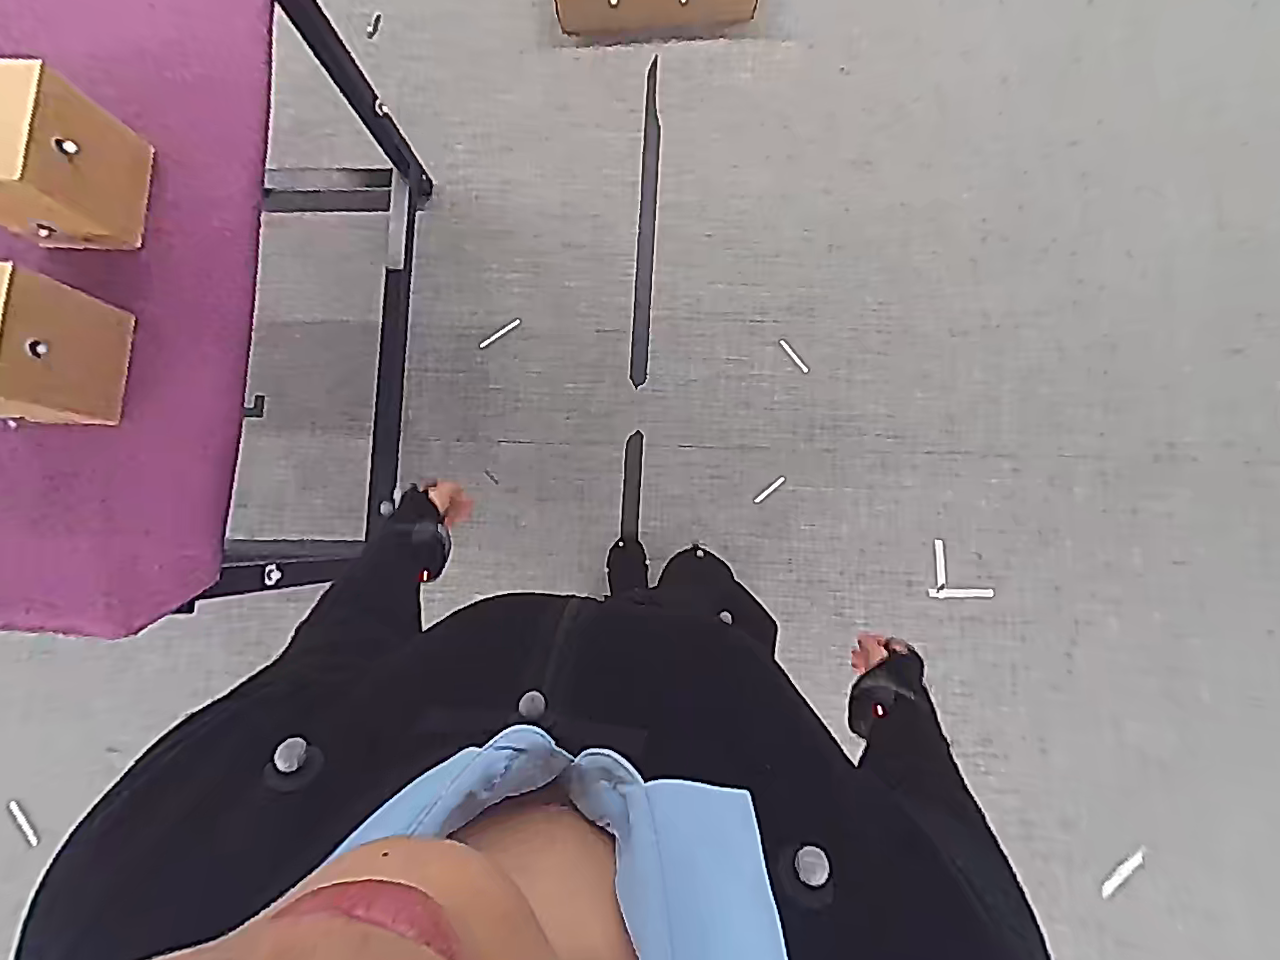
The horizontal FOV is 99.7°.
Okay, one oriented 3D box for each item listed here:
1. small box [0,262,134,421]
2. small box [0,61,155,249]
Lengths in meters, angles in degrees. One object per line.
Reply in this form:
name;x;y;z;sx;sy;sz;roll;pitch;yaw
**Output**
small box;-0.872;-0.185;0.759;0.168;0.176;0.179;2;83;2
small box;-0.871;-0.468;0.794;0.168;0.176;0.179;2;84;2
